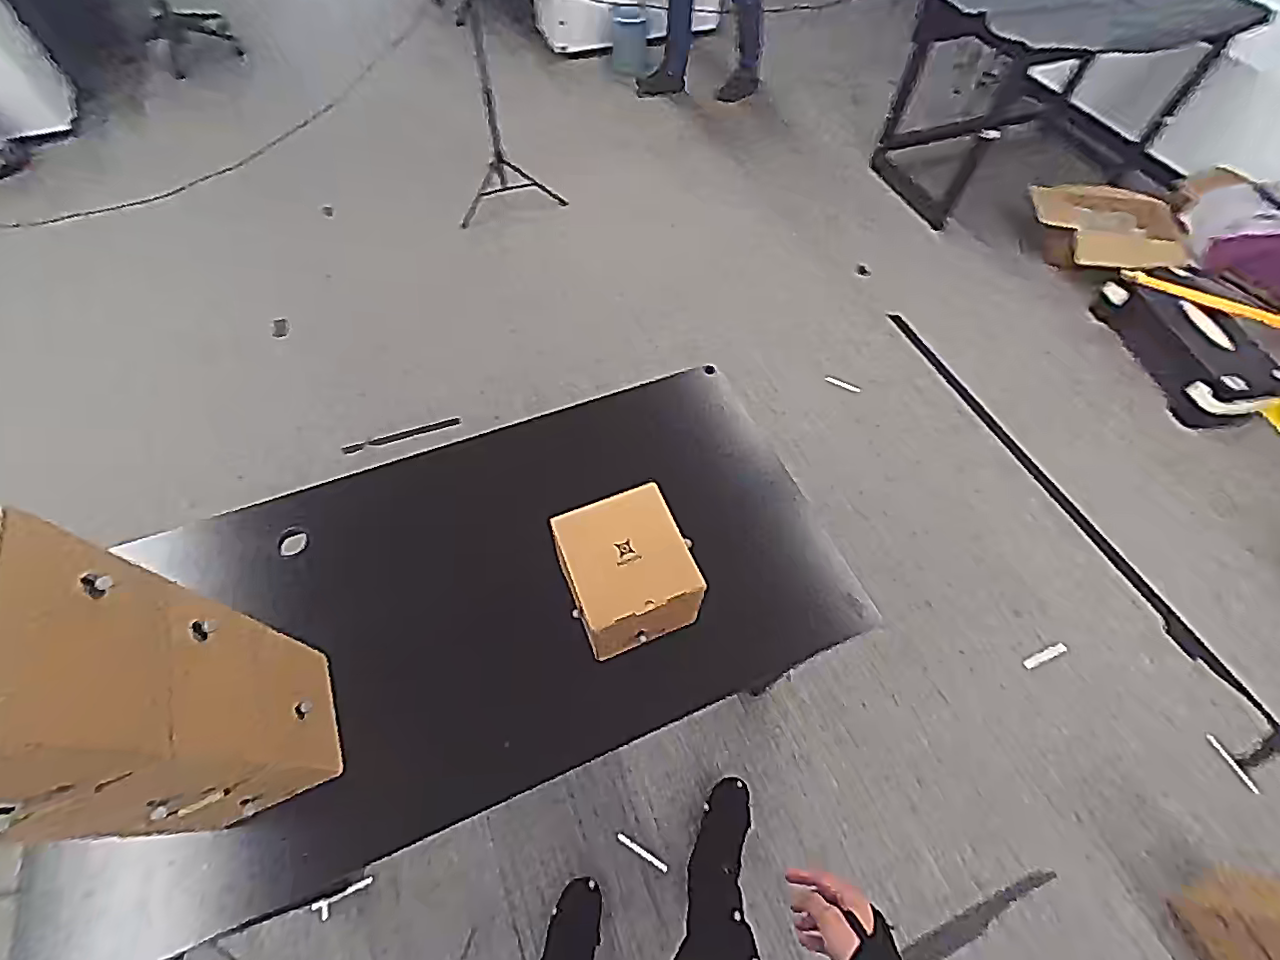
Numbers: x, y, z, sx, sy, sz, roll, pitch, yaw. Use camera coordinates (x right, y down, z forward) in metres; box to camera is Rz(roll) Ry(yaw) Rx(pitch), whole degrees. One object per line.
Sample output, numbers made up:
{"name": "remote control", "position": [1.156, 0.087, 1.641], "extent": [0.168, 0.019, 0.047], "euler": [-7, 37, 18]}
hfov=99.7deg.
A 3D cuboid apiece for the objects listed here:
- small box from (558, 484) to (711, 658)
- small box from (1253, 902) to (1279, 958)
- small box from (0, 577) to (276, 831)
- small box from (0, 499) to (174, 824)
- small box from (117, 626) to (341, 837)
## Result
{"name": "small box", "position": [-0.015, 0.140, 0.808], "extent": [0.168, 0.176, 0.179], "euler": [-19, 62, -13]}
{"name": "small box", "position": [1.380, 0.923, 1.041], "extent": [0.168, 0.176, 0.179], "euler": [-19, 63, -13]}
{"name": "small box", "position": [-0.503, 0.230, 0.546], "extent": [0.168, 0.176, 0.179], "euler": [-20, 62, -13]}
{"name": "small box", "position": [-0.497, 0.147, 0.406], "extent": [0.168, 0.176, 0.179], "euler": [-21, 63, -12]}
{"name": "small box", "position": [-0.507, 0.316, 0.687], "extent": [0.168, 0.176, 0.179], "euler": [-21, 63, -14]}
